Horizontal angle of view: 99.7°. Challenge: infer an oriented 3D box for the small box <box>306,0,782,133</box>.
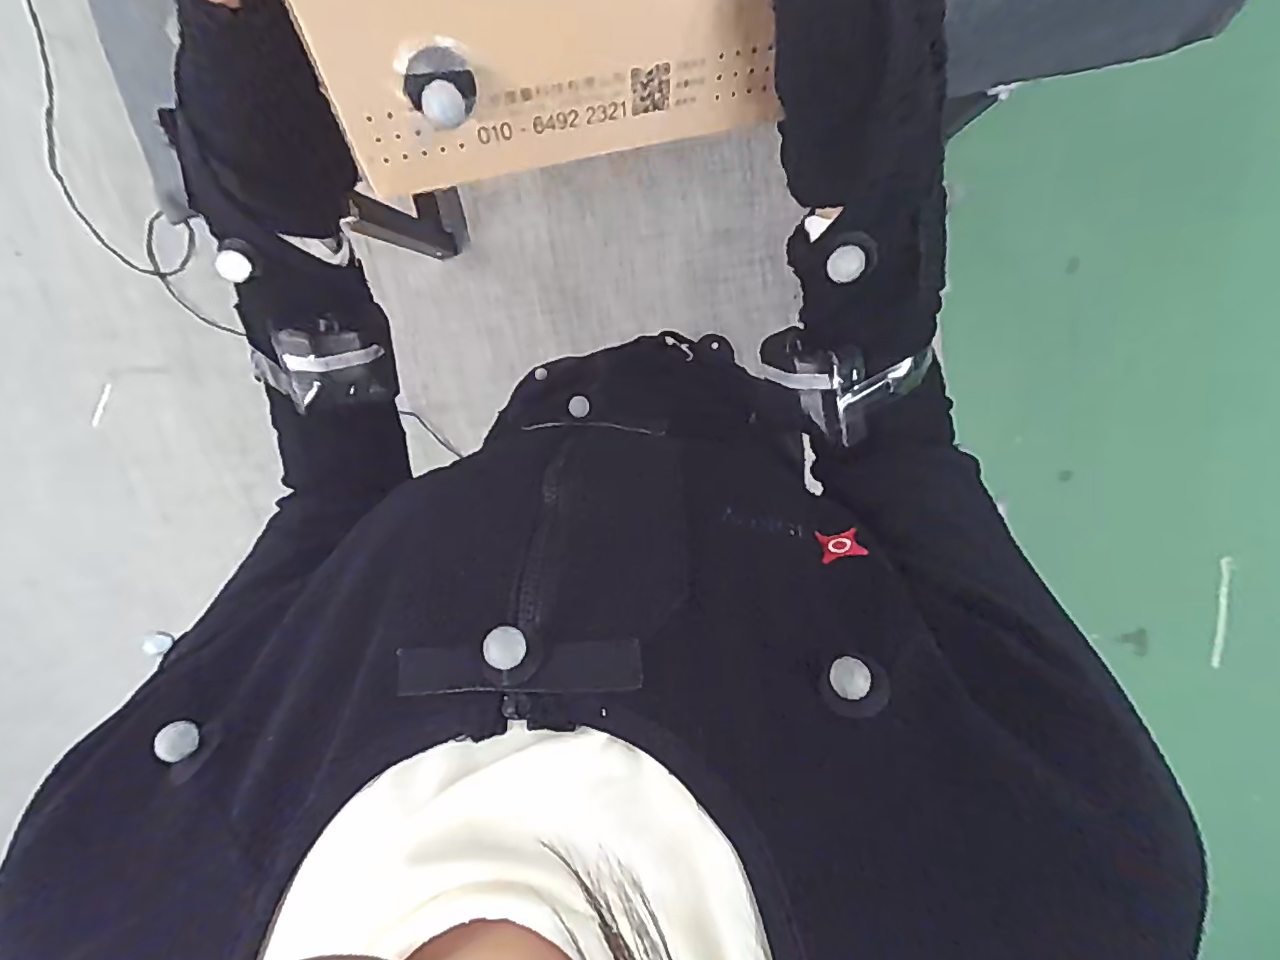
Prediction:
[{"bbox_3d":[-0.048,-0.242,0.181,0.168,0.176,0.179,-17,59,-11],"label":"small box"}]
